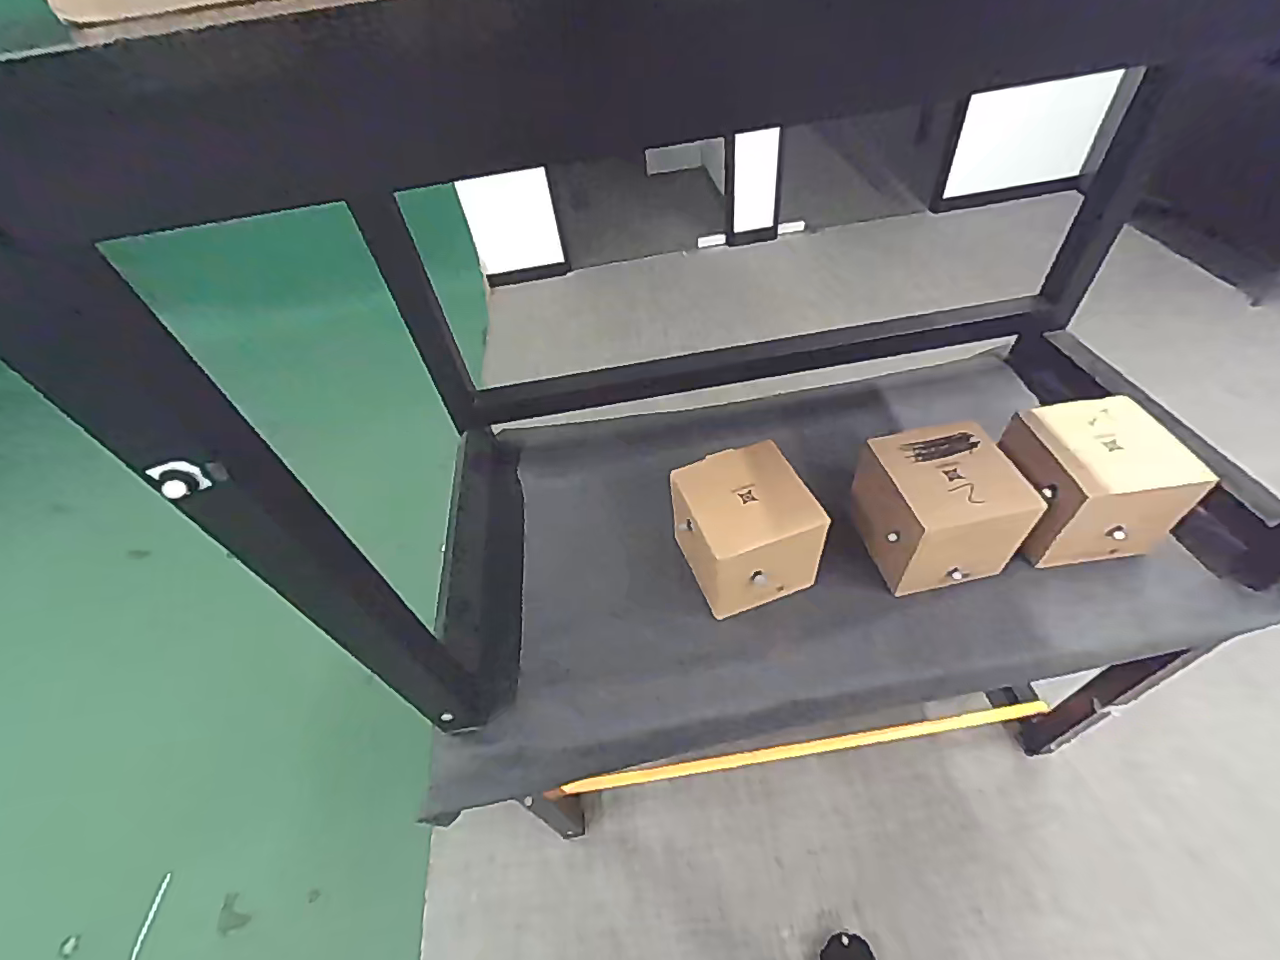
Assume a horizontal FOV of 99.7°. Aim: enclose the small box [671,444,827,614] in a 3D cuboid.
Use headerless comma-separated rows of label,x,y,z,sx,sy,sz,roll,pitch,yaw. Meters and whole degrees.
small box,0.157,0.080,0.818,0.168,0.176,0.179,-18,48,-8
